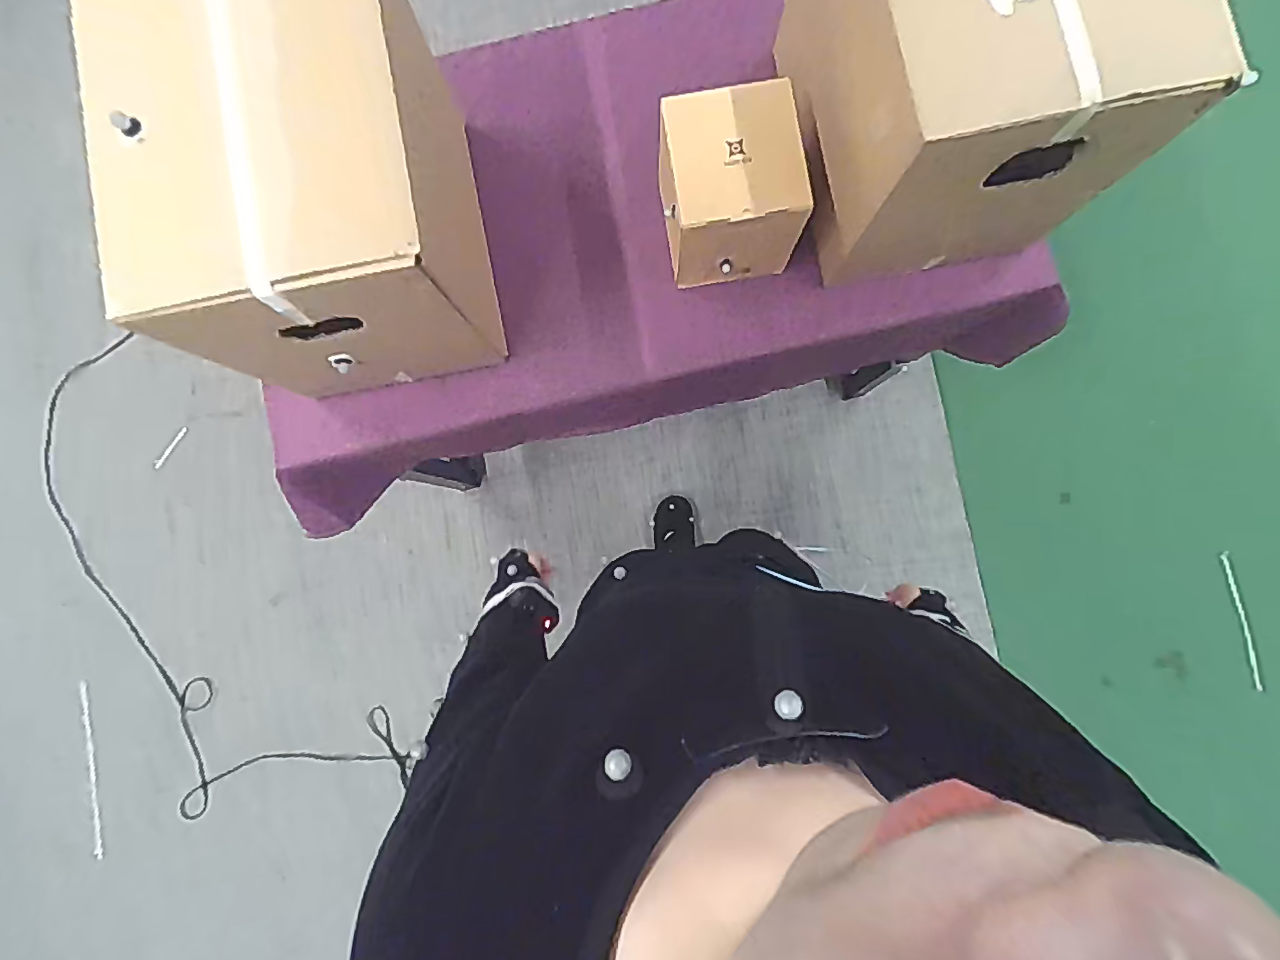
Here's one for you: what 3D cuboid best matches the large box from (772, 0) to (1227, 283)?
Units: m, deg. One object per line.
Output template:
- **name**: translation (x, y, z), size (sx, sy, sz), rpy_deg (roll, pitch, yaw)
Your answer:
- **large box**: translation (0.392, -0.529, 0.694), size (0.320, 0.320, 0.408), rpy_deg (-10, 85, 0)
